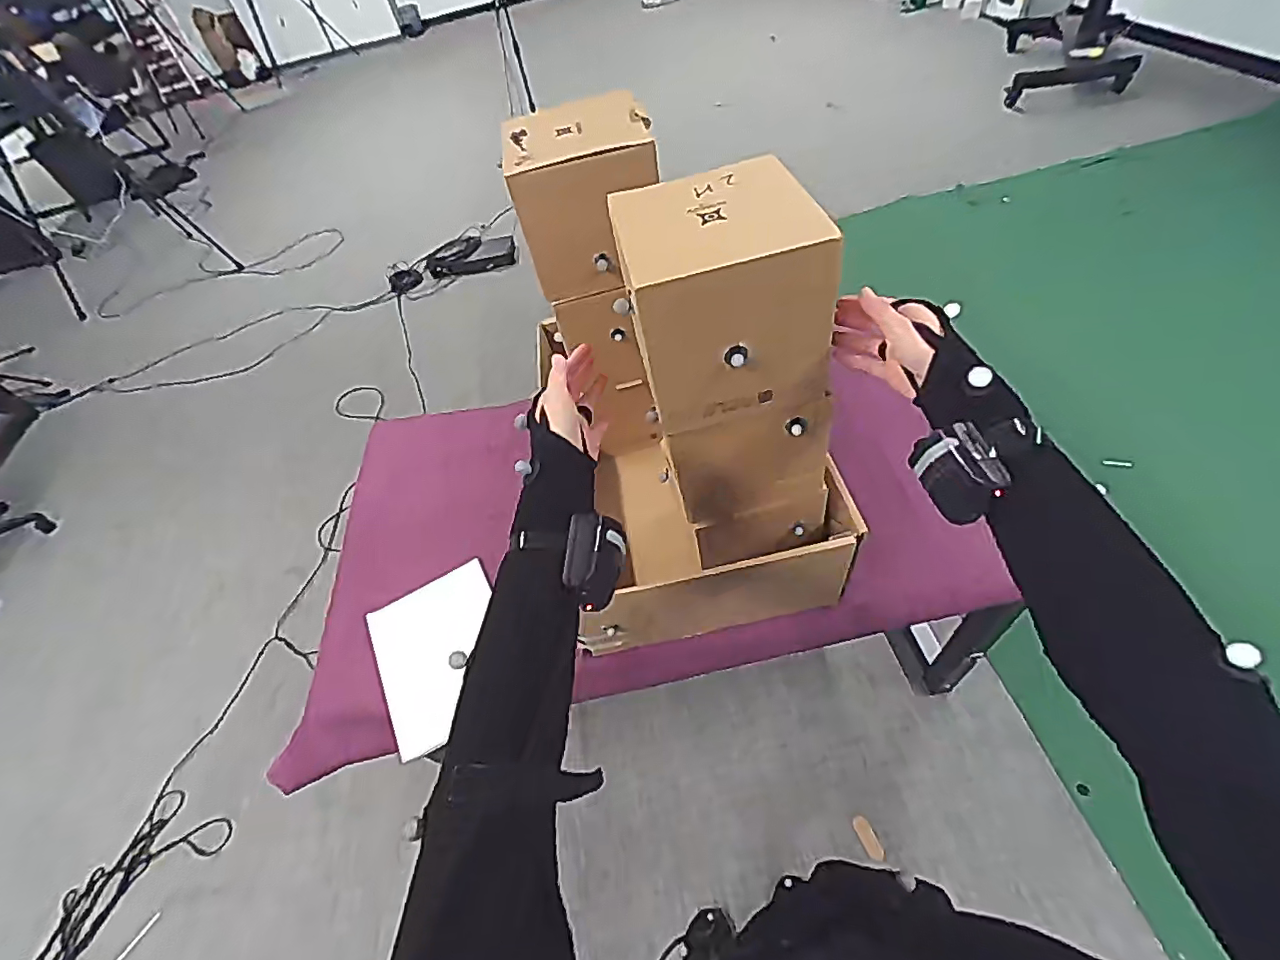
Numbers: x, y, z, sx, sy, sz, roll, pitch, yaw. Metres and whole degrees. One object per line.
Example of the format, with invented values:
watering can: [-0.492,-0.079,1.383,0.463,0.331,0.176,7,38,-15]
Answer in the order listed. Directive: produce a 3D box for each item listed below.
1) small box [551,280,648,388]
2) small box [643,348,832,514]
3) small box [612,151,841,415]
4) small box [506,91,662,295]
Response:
small box: [-0.038,-0.271,0.836,0.179,0.176,0.168,-15,52,0]
small box: [0.112,-0.080,0.650,0.179,0.176,0.168,-13,50,2]
small box: [0.078,-0.181,0.525,0.168,0.176,0.179,-13,49,2]
small box: [-0.065,-0.371,0.709,0.179,0.176,0.168,-12,52,0]
